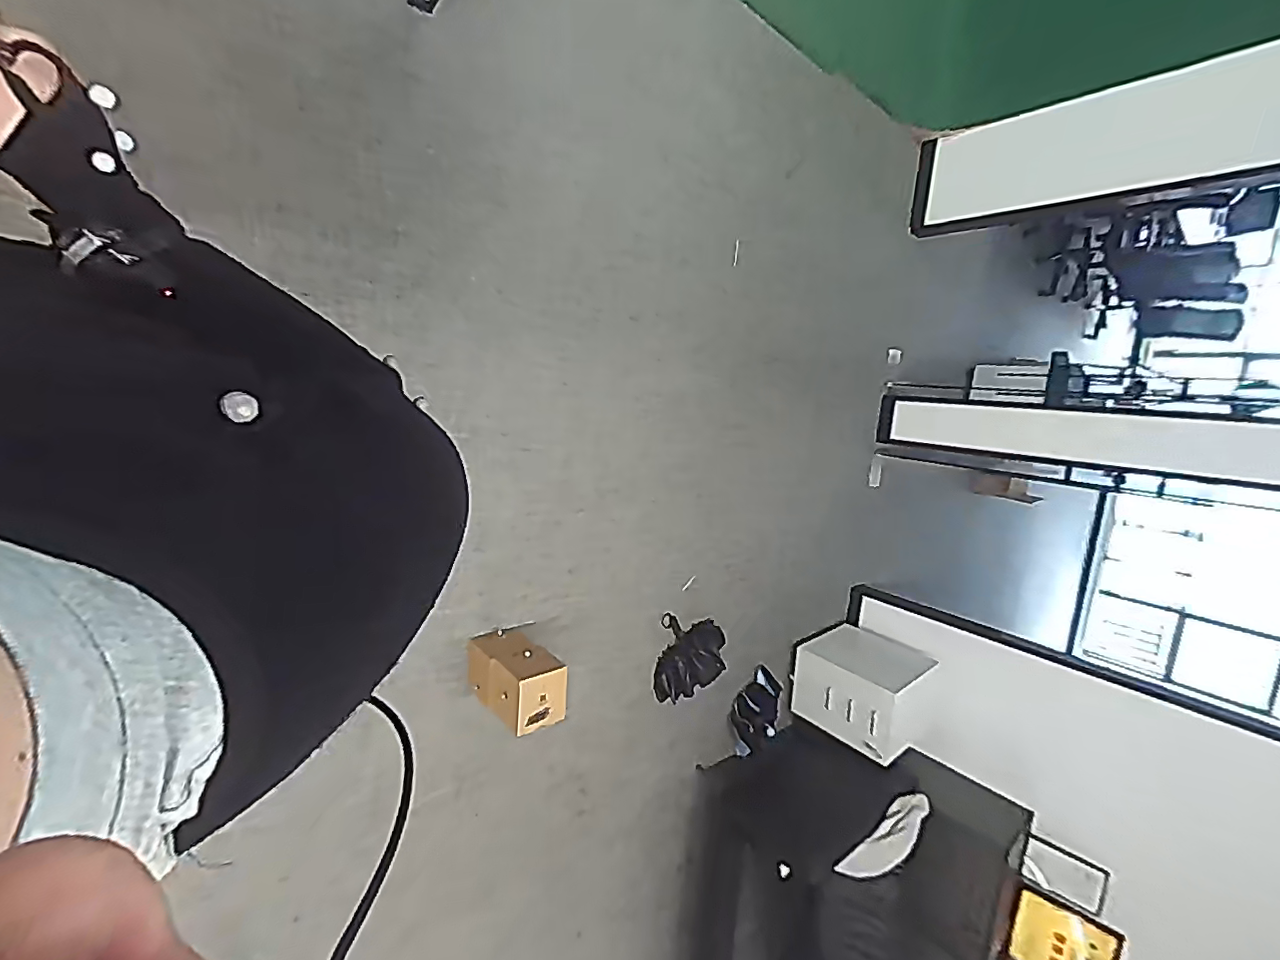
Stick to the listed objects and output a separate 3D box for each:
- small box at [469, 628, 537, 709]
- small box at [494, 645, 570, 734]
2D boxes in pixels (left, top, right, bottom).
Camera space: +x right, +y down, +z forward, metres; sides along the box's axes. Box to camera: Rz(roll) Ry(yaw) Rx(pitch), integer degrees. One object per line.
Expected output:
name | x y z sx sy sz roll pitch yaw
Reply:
small box | -0.447 0.610 1.769 0.168 0.176 0.179 -6 102 -41
small box | -0.334 0.633 1.652 0.168 0.176 0.179 -4 101 -41
